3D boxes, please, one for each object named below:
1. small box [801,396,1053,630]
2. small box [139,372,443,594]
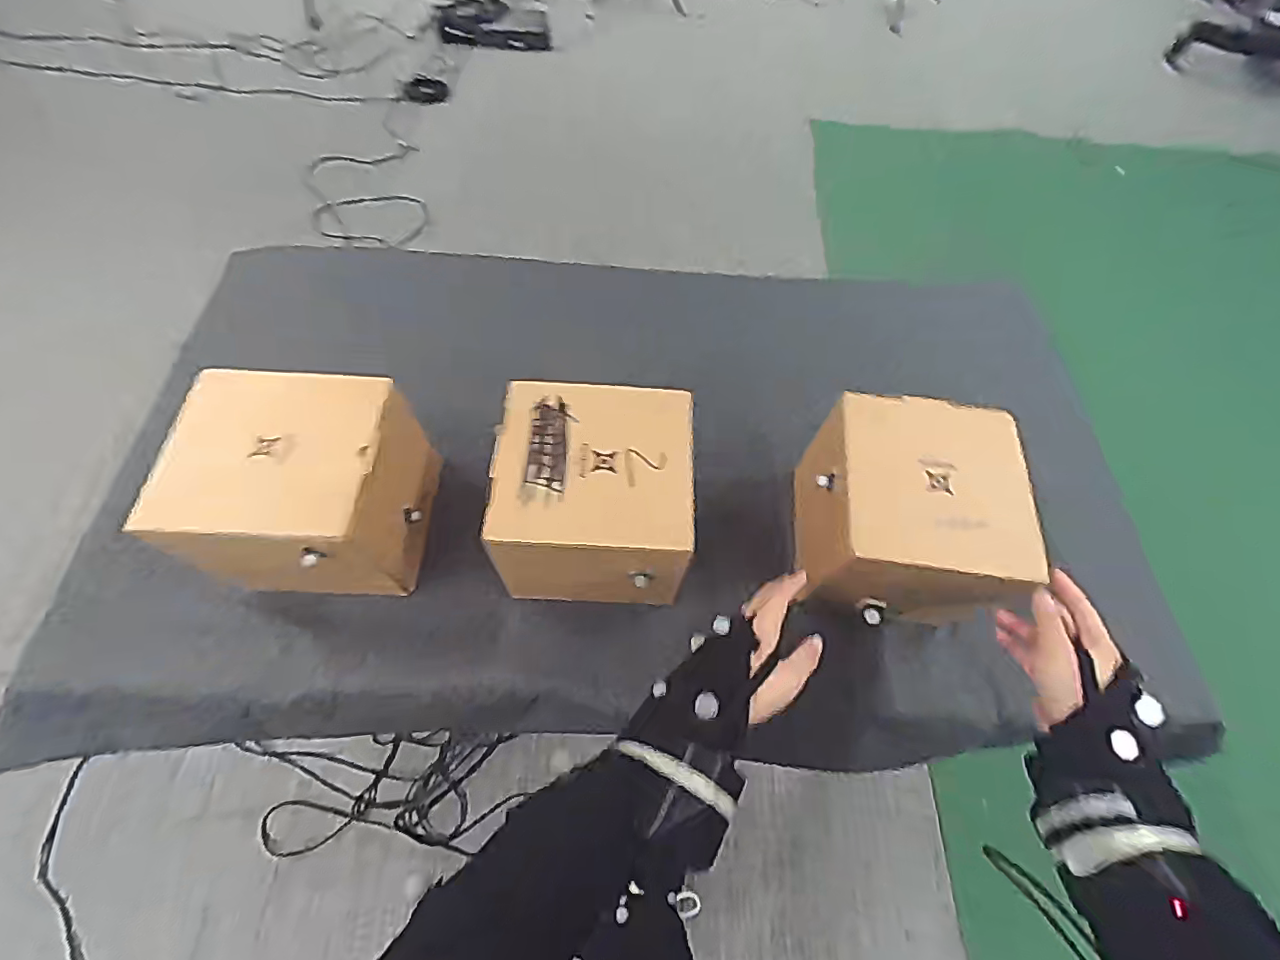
[{"bbox_3d":[0.271,0.041,0.560,0.168,0.176,0.179,7,63,3],"label":"small box"},{"bbox_3d":[-0.321,0.011,0.546,0.179,0.176,0.168,3,61,-3],"label":"small box"}]
